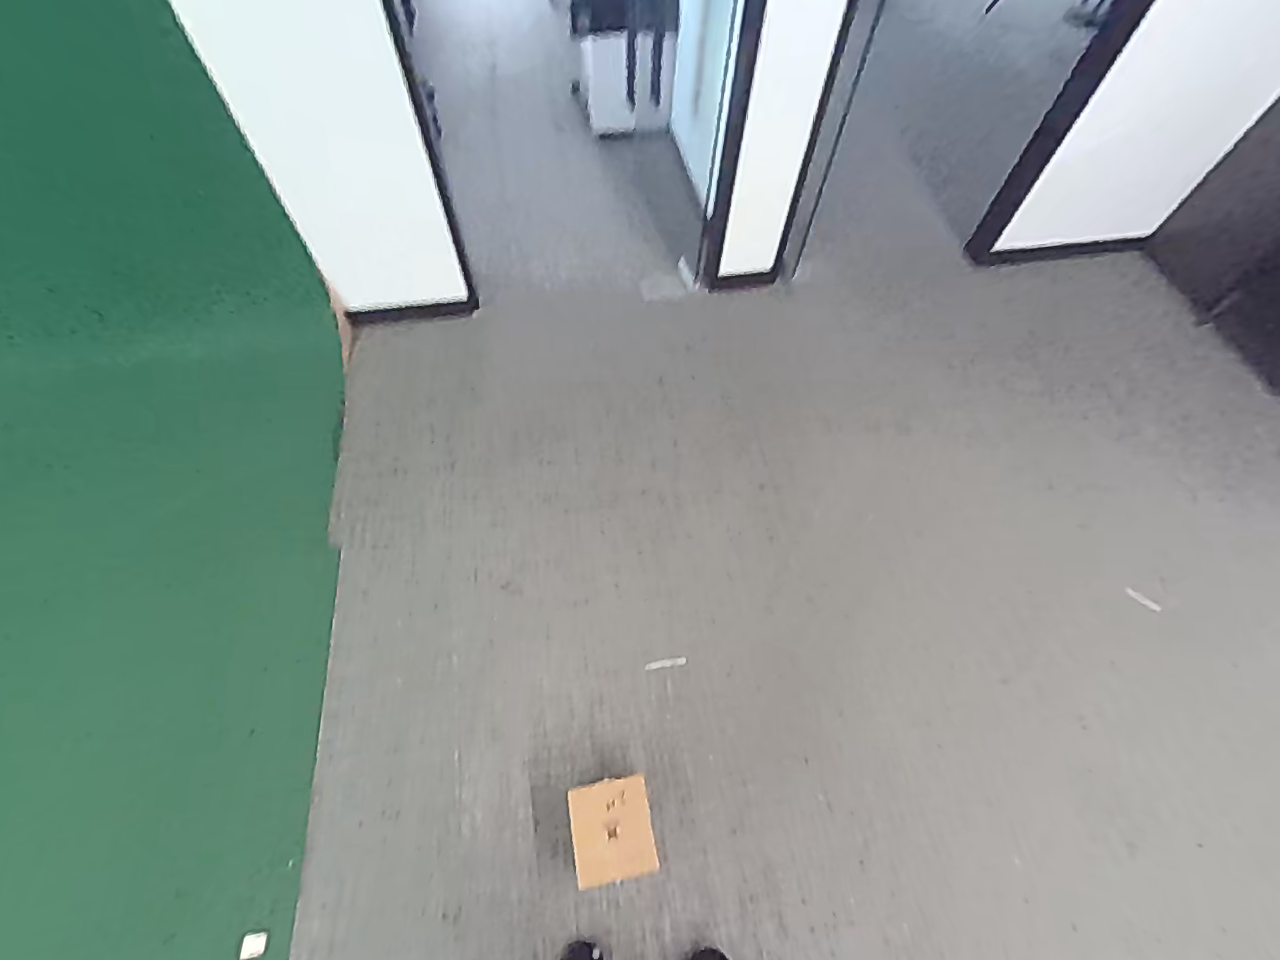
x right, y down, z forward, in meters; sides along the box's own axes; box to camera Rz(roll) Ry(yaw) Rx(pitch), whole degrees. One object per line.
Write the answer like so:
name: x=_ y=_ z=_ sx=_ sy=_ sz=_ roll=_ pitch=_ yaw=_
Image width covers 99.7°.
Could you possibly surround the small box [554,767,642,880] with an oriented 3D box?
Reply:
small box: x=-0.091 y=0.735 z=1.171 sx=0.168 sy=0.176 sz=0.179 roll=-7 pitch=60 yaw=-7
